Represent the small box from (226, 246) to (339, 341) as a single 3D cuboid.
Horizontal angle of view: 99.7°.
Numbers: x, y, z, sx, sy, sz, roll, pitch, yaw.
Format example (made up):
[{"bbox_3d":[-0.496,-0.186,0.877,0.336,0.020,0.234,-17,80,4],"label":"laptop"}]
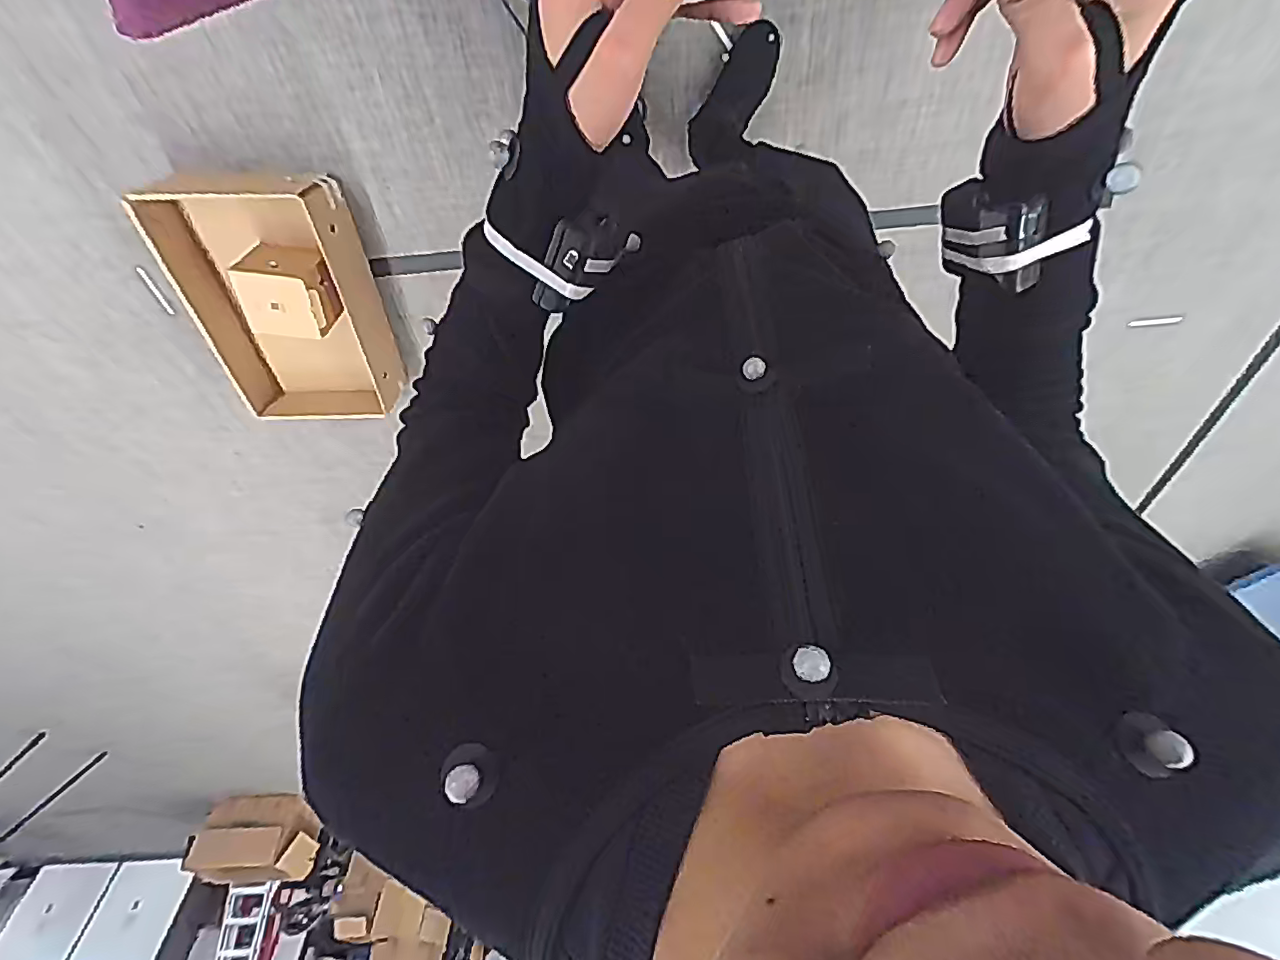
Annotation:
[{"bbox_3d":[-0.896,-0.478,1.380,0.179,0.176,0.168,5,134,-7],"label":"small box"}]
